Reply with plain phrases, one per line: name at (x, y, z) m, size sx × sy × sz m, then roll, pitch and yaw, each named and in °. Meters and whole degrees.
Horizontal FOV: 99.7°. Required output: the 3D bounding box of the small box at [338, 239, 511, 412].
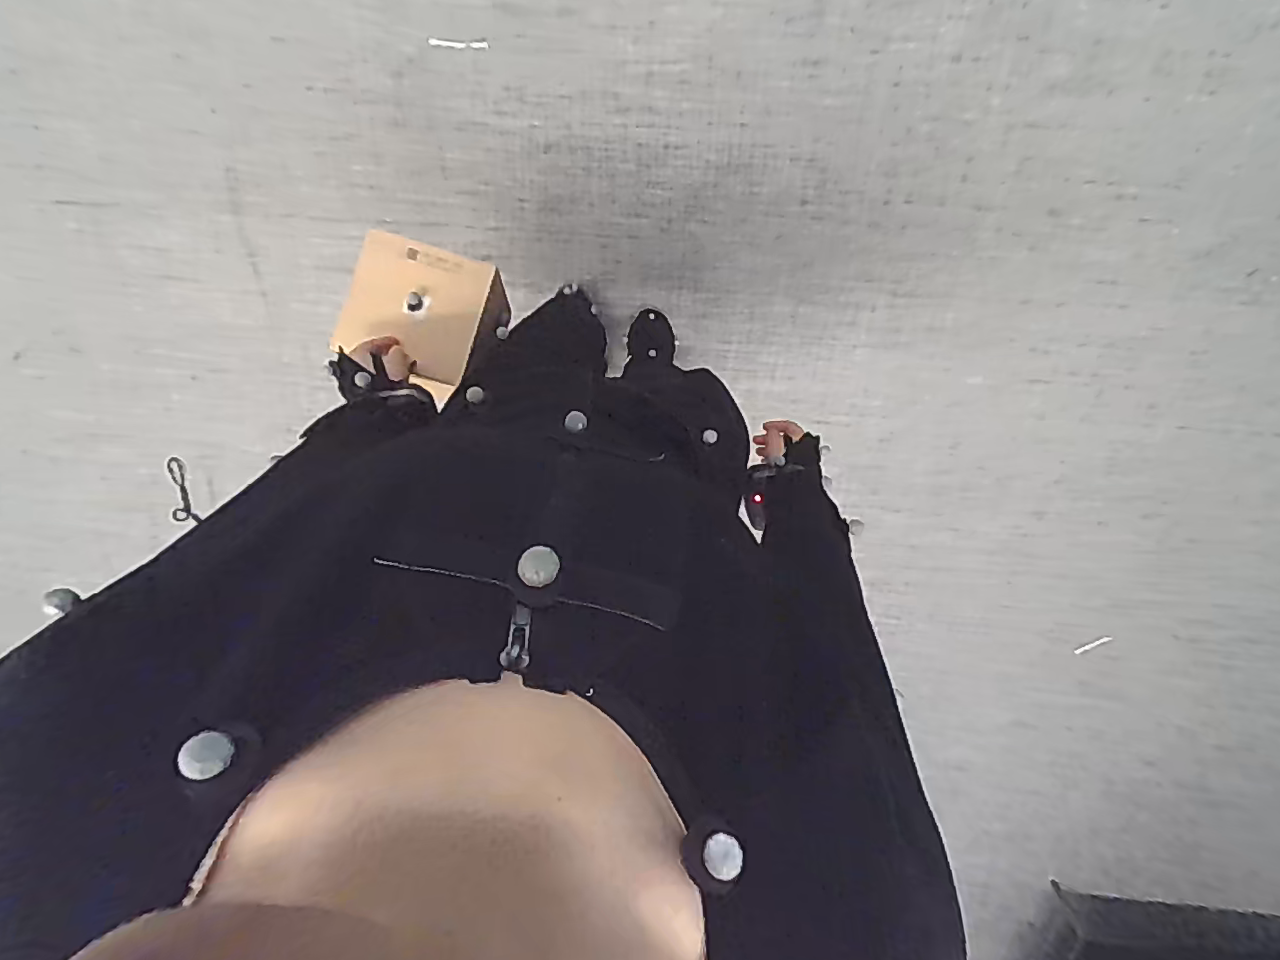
small box at (-0.290, -0.210, 0.766) m, size 0.168 × 0.179 × 0.176 m, roll 15°, pitch 85°, yaw -6°
